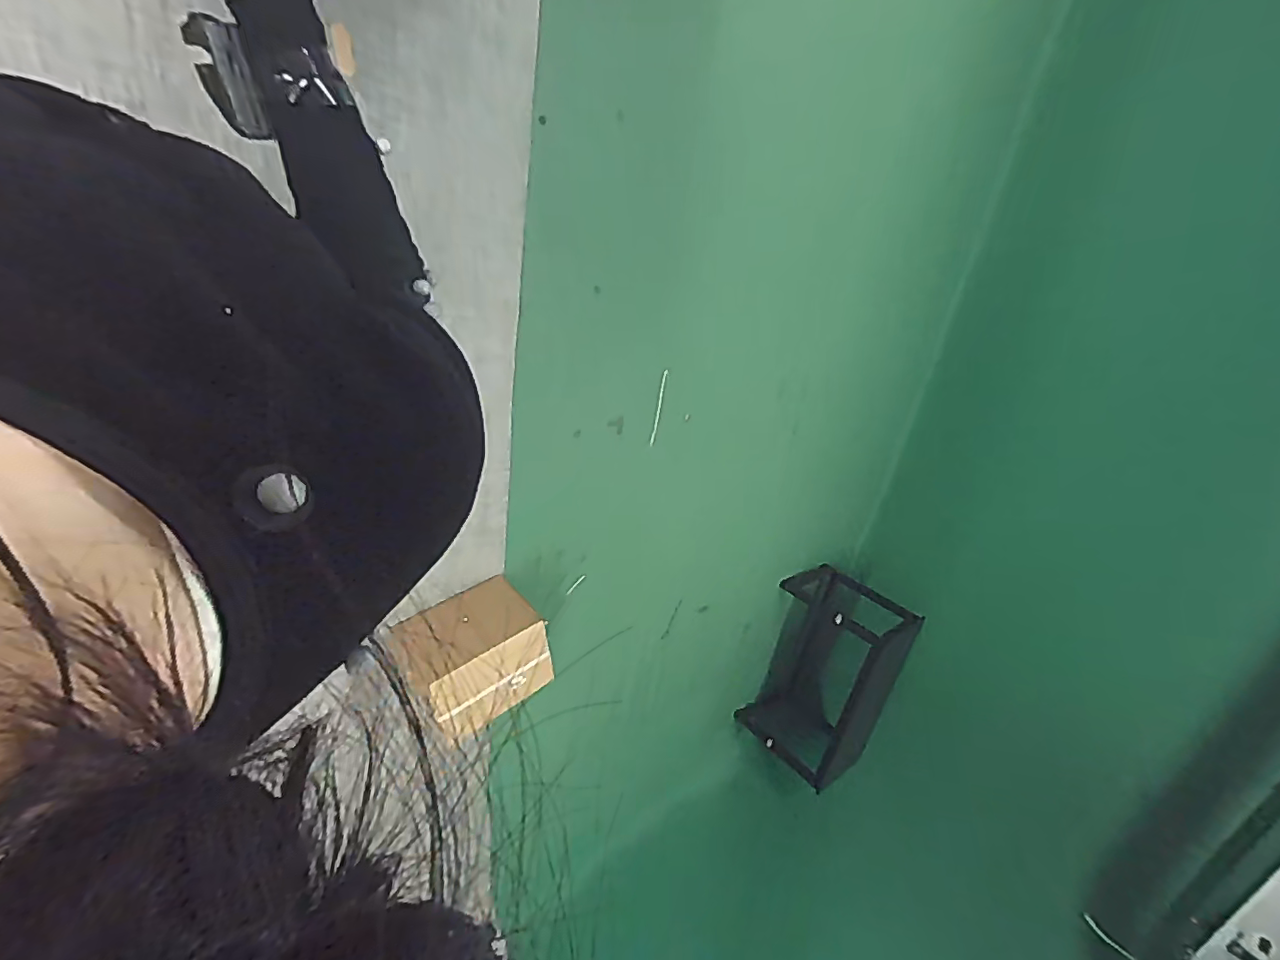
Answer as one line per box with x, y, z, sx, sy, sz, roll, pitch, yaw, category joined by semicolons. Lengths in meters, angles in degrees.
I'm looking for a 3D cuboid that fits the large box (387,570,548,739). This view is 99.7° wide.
-0.584;0.583;1.866;0.408;0.320;0.320;-26;131;-33;large box
